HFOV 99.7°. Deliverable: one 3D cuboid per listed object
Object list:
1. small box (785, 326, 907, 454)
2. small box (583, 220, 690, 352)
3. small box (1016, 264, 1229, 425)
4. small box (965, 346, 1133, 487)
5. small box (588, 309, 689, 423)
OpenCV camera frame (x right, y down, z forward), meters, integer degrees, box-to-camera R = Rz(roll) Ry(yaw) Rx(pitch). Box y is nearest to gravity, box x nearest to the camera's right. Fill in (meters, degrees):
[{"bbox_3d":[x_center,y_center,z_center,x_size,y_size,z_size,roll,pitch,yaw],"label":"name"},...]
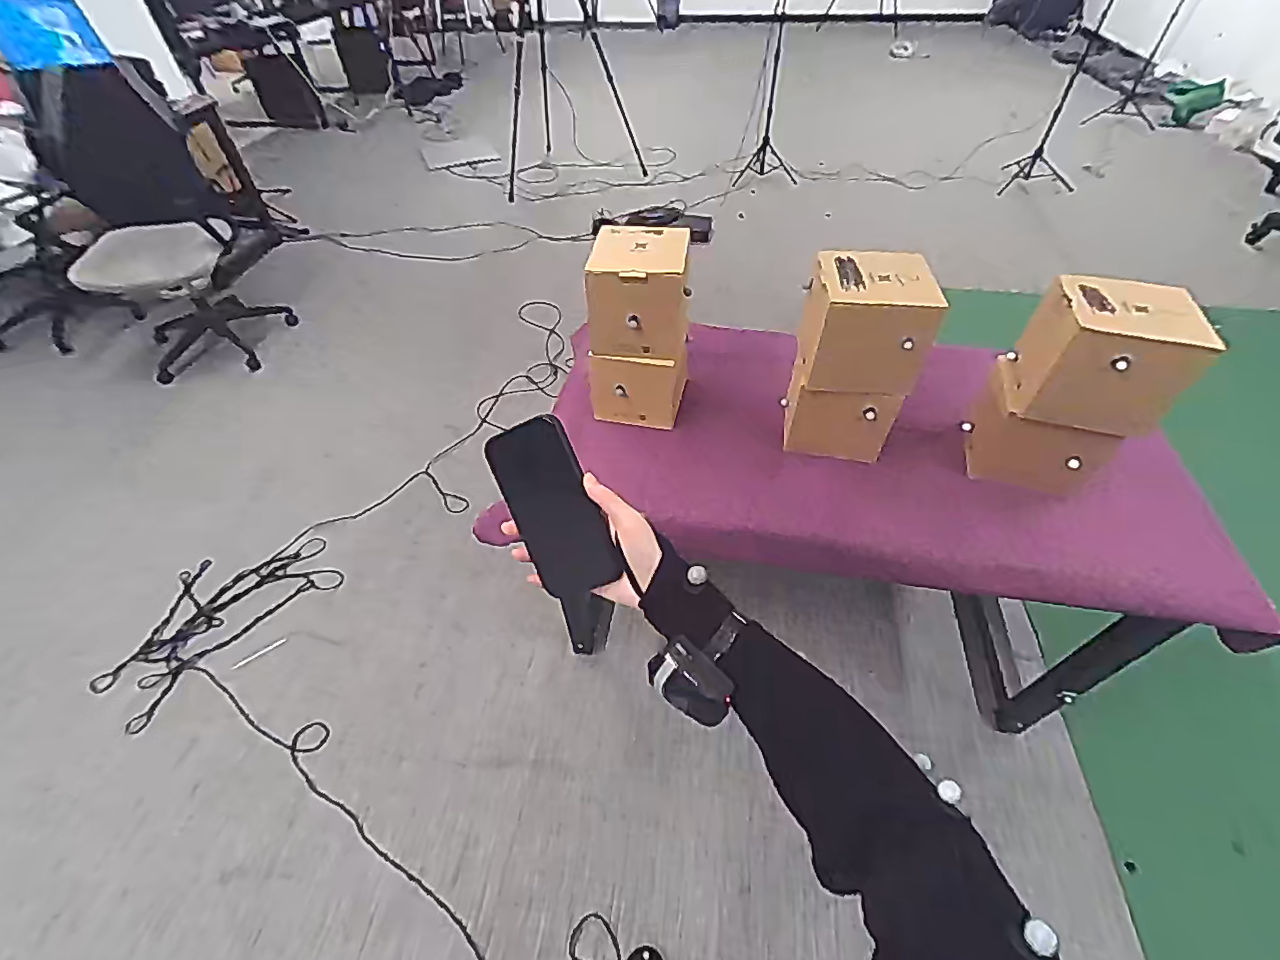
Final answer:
[{"bbox_3d":[0.382,-0.168,1.027,0.179,0.176,0.168,8,49,10],"label":"small box"},{"bbox_3d":[0.001,-0.352,0.988,0.168,0.176,0.179,5,50,6],"label":"small box"},{"bbox_3d":[0.711,-0.206,0.830,0.179,0.176,0.168,13,50,13],"label":"small box"},{"bbox_3d":[0.711,-0.110,0.963,0.179,0.176,0.168,13,50,14],"label":"small box"},{"bbox_3d":[0.005,-0.237,1.105,0.168,0.176,0.179,9,49,10],"label":"small box"}]
